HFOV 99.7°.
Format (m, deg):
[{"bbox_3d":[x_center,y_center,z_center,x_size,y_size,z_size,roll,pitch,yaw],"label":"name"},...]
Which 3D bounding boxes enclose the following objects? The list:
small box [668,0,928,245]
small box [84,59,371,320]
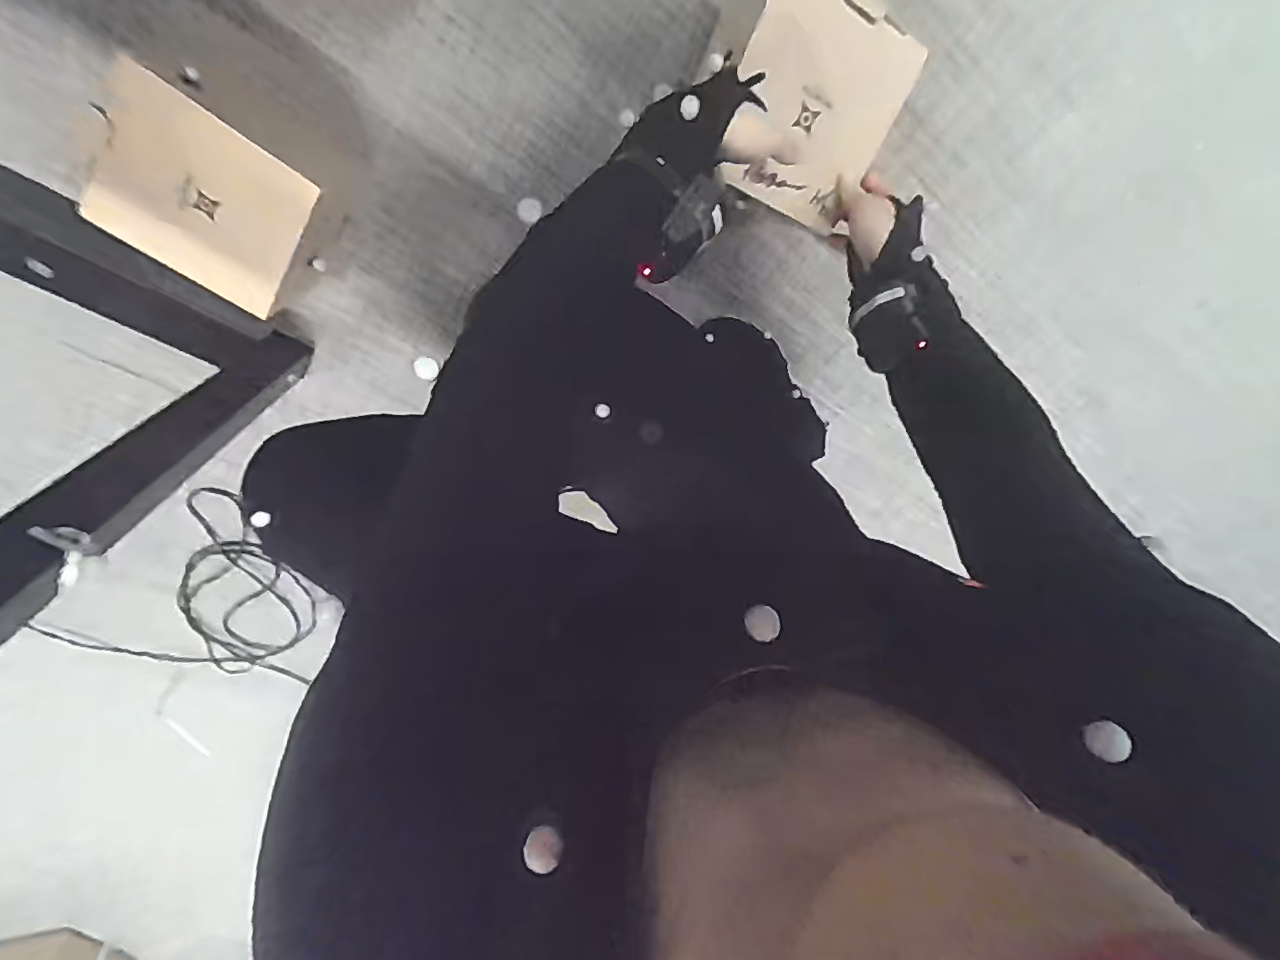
[{"bbox_3d":[0.145,-0.381,0.570,0.168,0.176,0.179,18,116,-21],"label":"small box"},{"bbox_3d":[-0.432,-0.314,0.595,0.179,0.176,0.168,32,115,-23],"label":"small box"}]
